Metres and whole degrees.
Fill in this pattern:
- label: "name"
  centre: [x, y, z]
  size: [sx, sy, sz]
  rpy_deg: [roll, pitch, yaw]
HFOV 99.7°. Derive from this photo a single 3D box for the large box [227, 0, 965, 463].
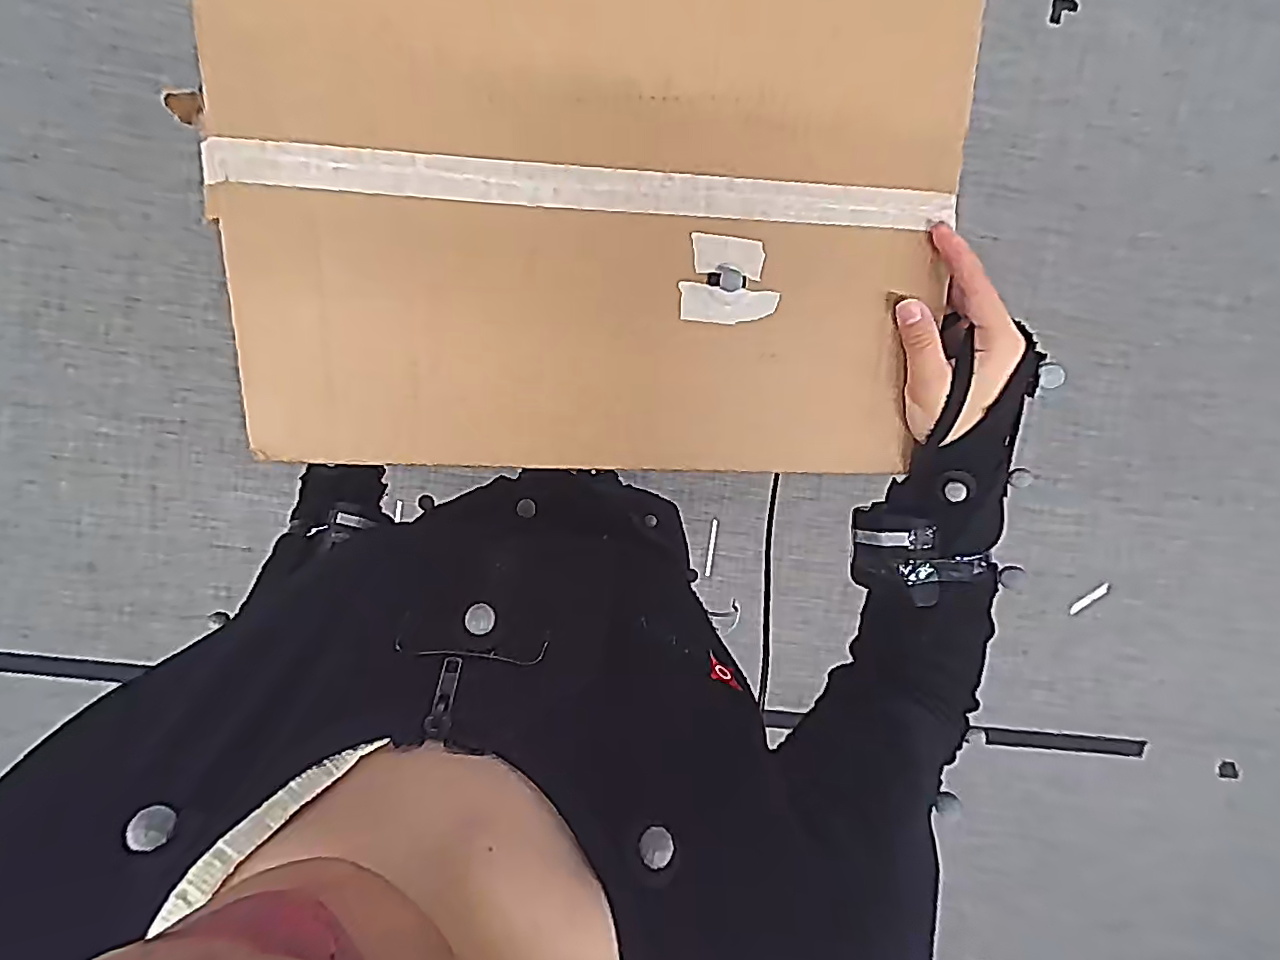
- label: "large box"
  centre: [-0.032, -0.193, 0.455]
  size: [0.408, 0.320, 0.320]
  rpy_deg: [0, 103, -7]
